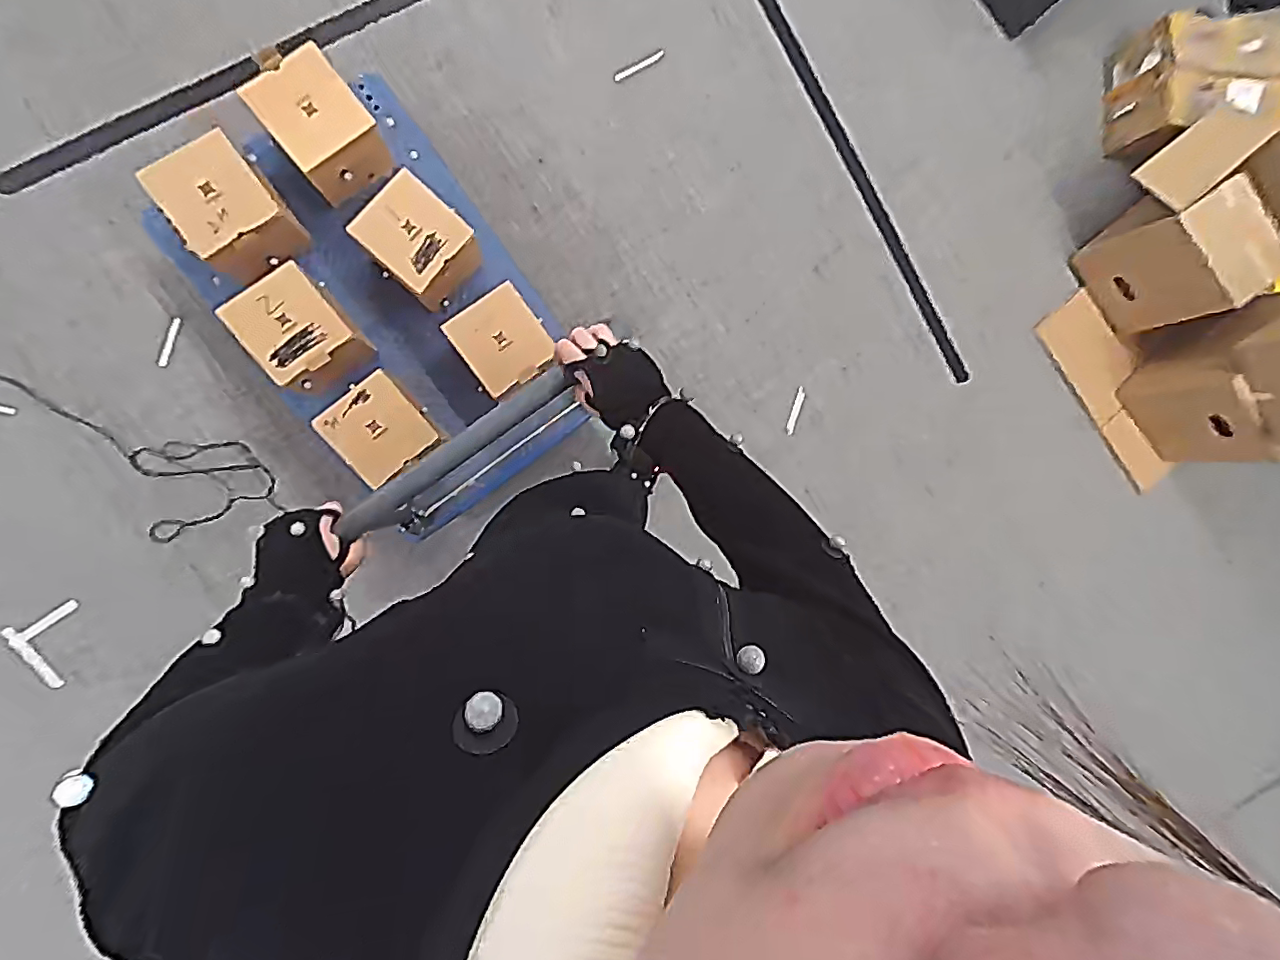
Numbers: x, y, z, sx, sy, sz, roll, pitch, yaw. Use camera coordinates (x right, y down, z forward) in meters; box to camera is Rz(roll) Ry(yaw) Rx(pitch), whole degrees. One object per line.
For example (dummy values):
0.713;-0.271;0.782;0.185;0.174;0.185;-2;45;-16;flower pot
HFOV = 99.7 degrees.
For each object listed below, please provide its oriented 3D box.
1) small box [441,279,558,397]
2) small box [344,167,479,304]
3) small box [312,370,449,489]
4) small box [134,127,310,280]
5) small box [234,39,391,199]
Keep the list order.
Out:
-0.292;-0.290;1.156;0.168;0.176;0.179;-37;99;-8;small box
-0.454;-0.485;1.111;0.179;0.176;0.168;41;85;-9;small box
-0.523;-0.104;1.121;0.168;0.176;0.179;-41;100;-7;small box
-0.788;-0.519;1.043;0.168;0.176;0.179;-36;100;-7;small box
-0.627;-0.690;1.065;0.168;0.176;0.179;-41;100;-6;small box
